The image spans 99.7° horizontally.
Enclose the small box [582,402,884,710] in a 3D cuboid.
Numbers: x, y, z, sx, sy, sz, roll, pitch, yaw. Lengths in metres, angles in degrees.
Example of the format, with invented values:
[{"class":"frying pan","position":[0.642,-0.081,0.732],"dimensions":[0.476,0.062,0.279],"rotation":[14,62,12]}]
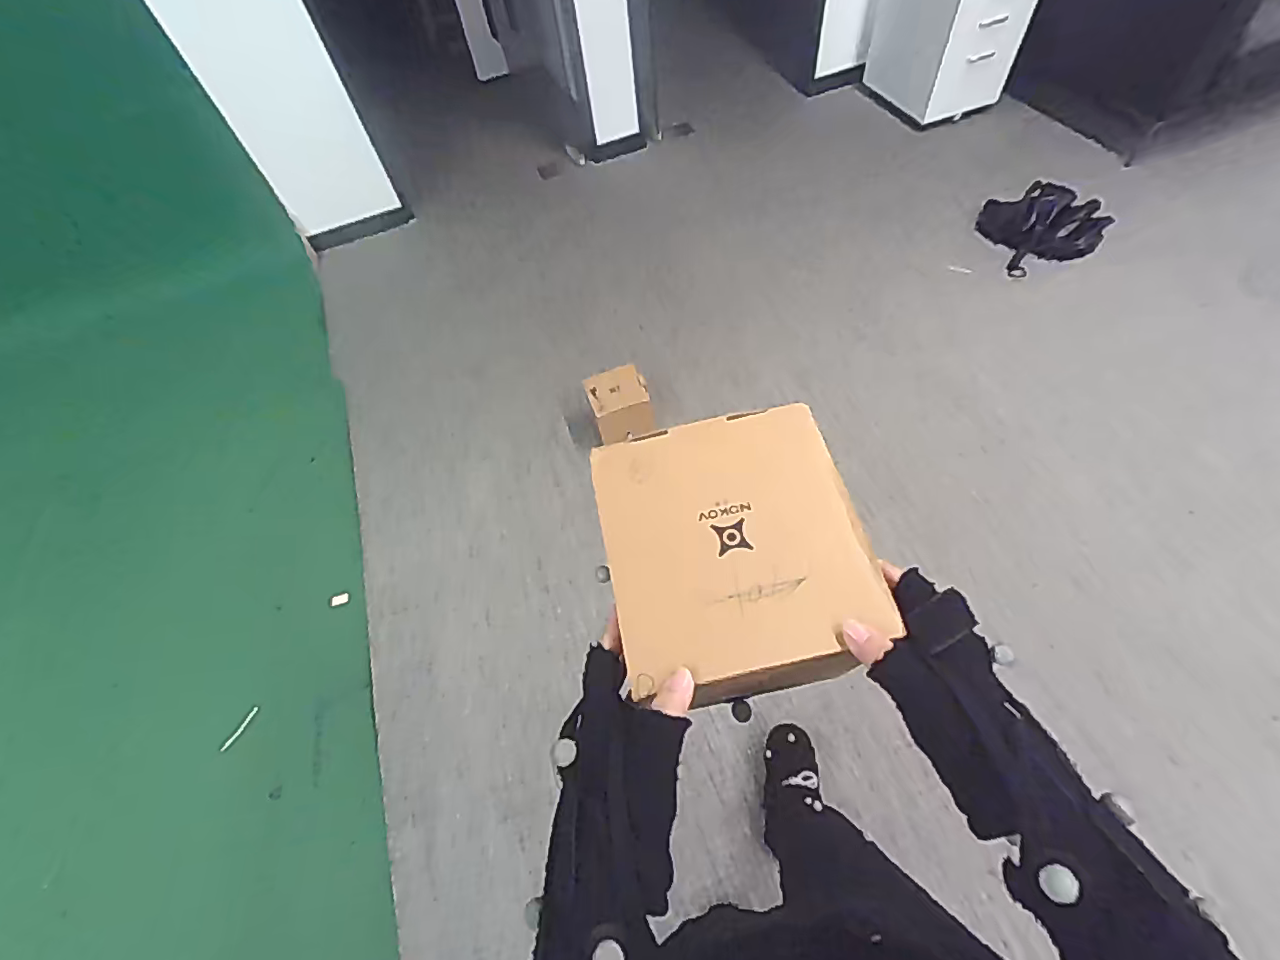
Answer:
[{"class":"small box","position":[0.058,0.069,0.428],"dimensions":[0.168,0.176,0.179],"rotation":[-12,62,1]}]

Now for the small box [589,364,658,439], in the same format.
[{"class":"small box","position":[-0.047,-0.236,1.728],"dimensions":[0.179,0.176,0.168],"rotation":[-19,57,-4]}]
